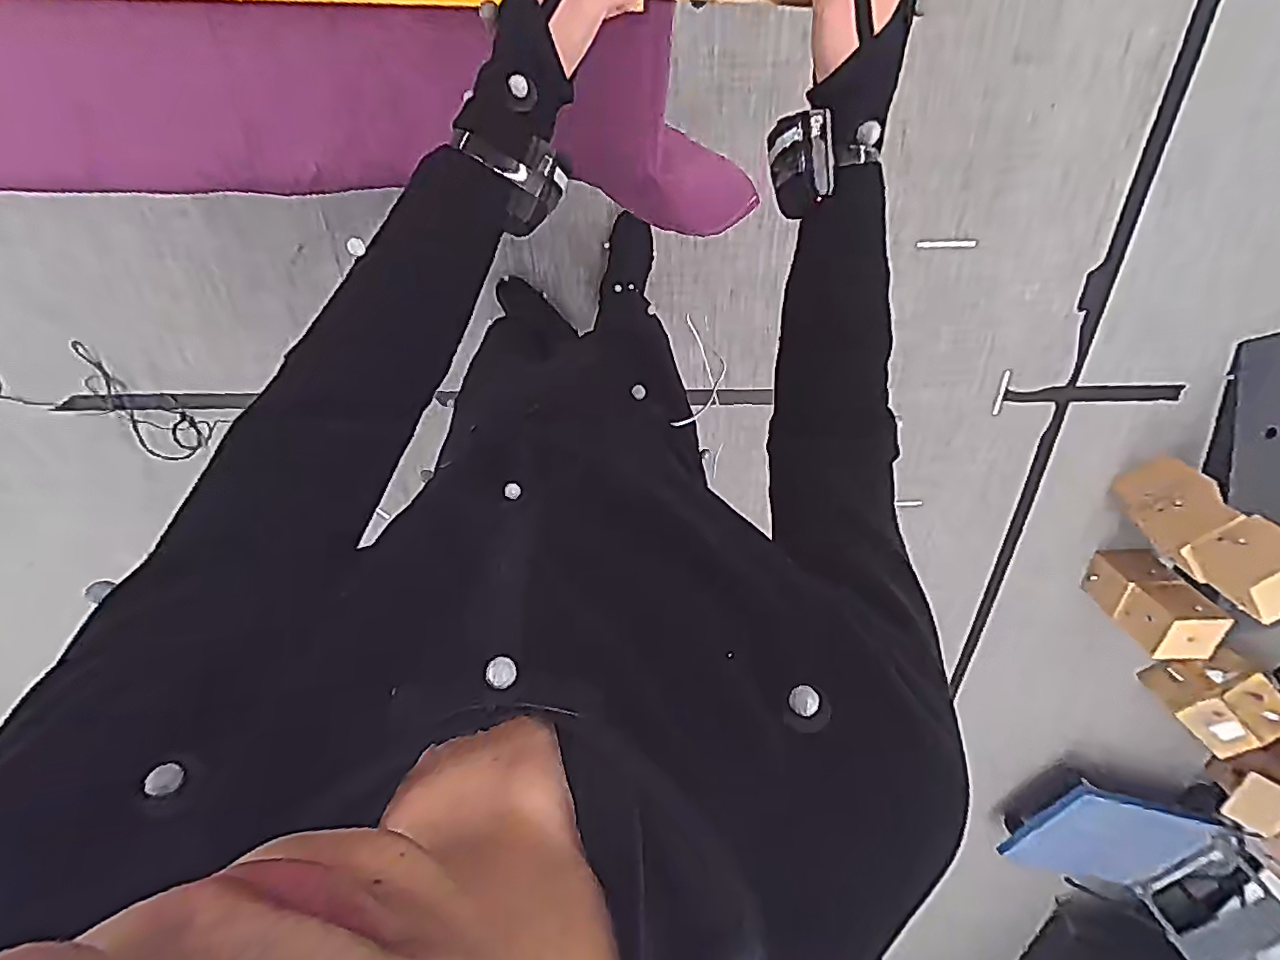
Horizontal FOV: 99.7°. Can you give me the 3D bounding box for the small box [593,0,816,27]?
[{"bbox_3d":[0.055,-0.481,0.422,0.179,0.176,0.168,3,138,-2],"label":"small box"}]
